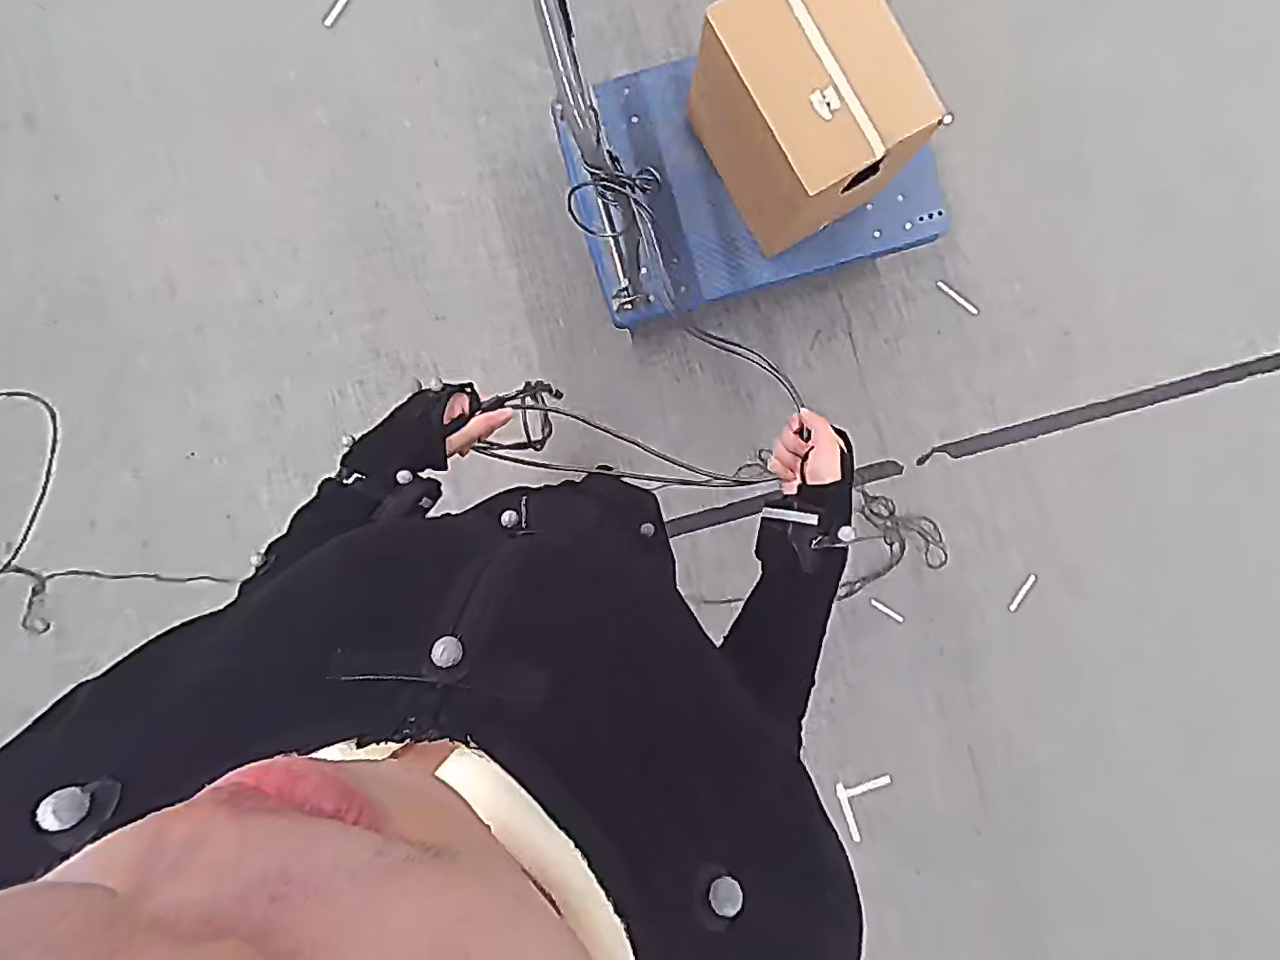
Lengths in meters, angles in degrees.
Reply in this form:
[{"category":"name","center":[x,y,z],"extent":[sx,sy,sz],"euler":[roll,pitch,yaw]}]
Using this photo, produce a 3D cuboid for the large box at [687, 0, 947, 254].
[{"category":"large box","center":[0.346,-0.786,1.161],"extent":[0.320,0.320,0.408],"euler":[-31,93,0]}]
